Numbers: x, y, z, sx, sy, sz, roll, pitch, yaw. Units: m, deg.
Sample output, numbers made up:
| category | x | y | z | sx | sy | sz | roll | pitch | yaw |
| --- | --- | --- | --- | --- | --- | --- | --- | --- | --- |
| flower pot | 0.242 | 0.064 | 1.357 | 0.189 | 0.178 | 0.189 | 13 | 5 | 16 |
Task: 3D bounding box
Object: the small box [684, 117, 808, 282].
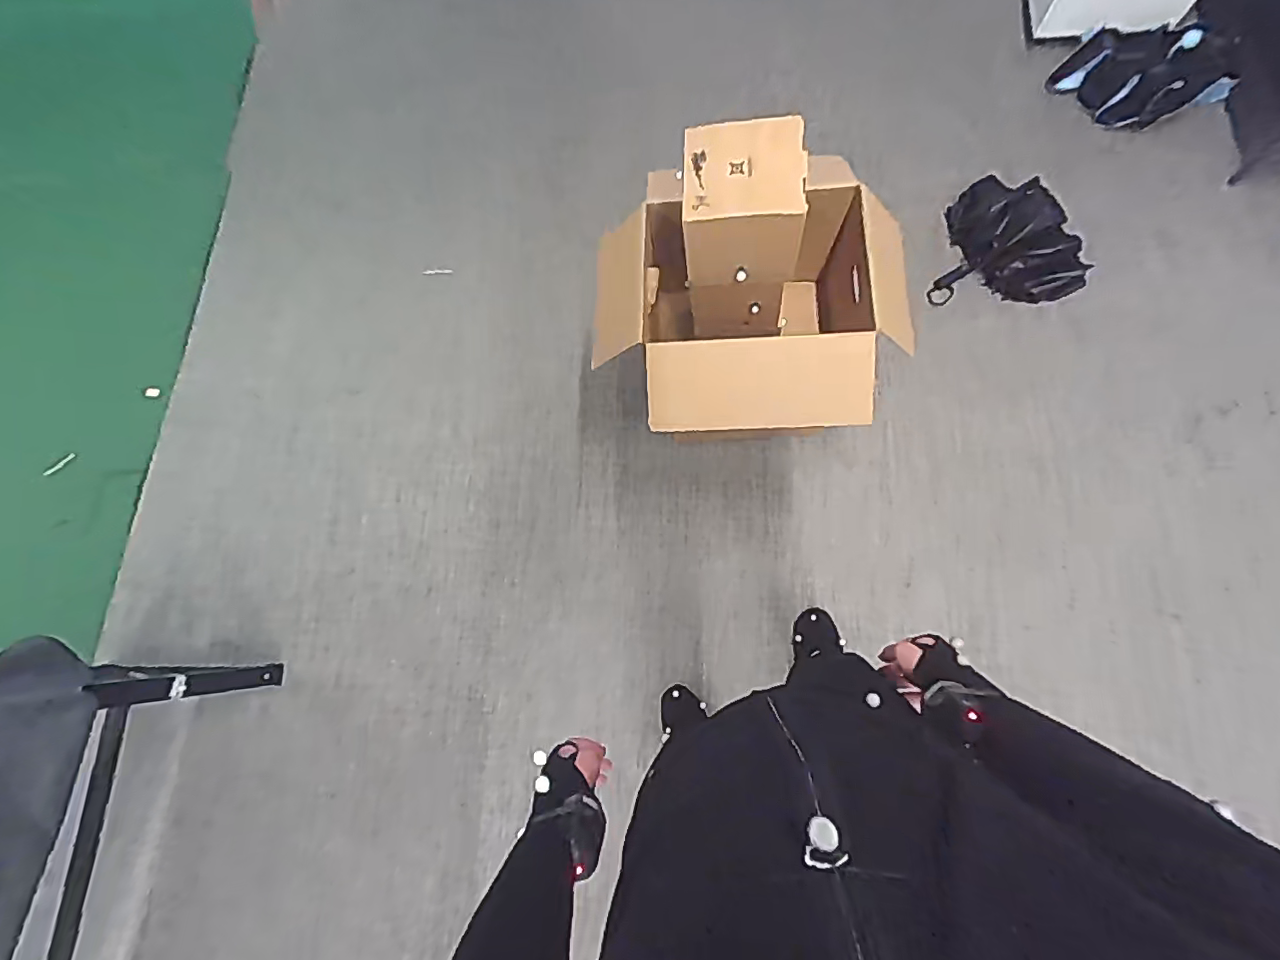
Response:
| category | x | y | z | sx | sy | sz | roll | pitch | yaw |
| --- | --- | --- | --- | --- | --- | --- | --- | --- | --- |
| small box | 0.164 | -0.434 | 0.861 | 0.179 | 0.176 | 0.168 | 1 | 77 | 9 |
